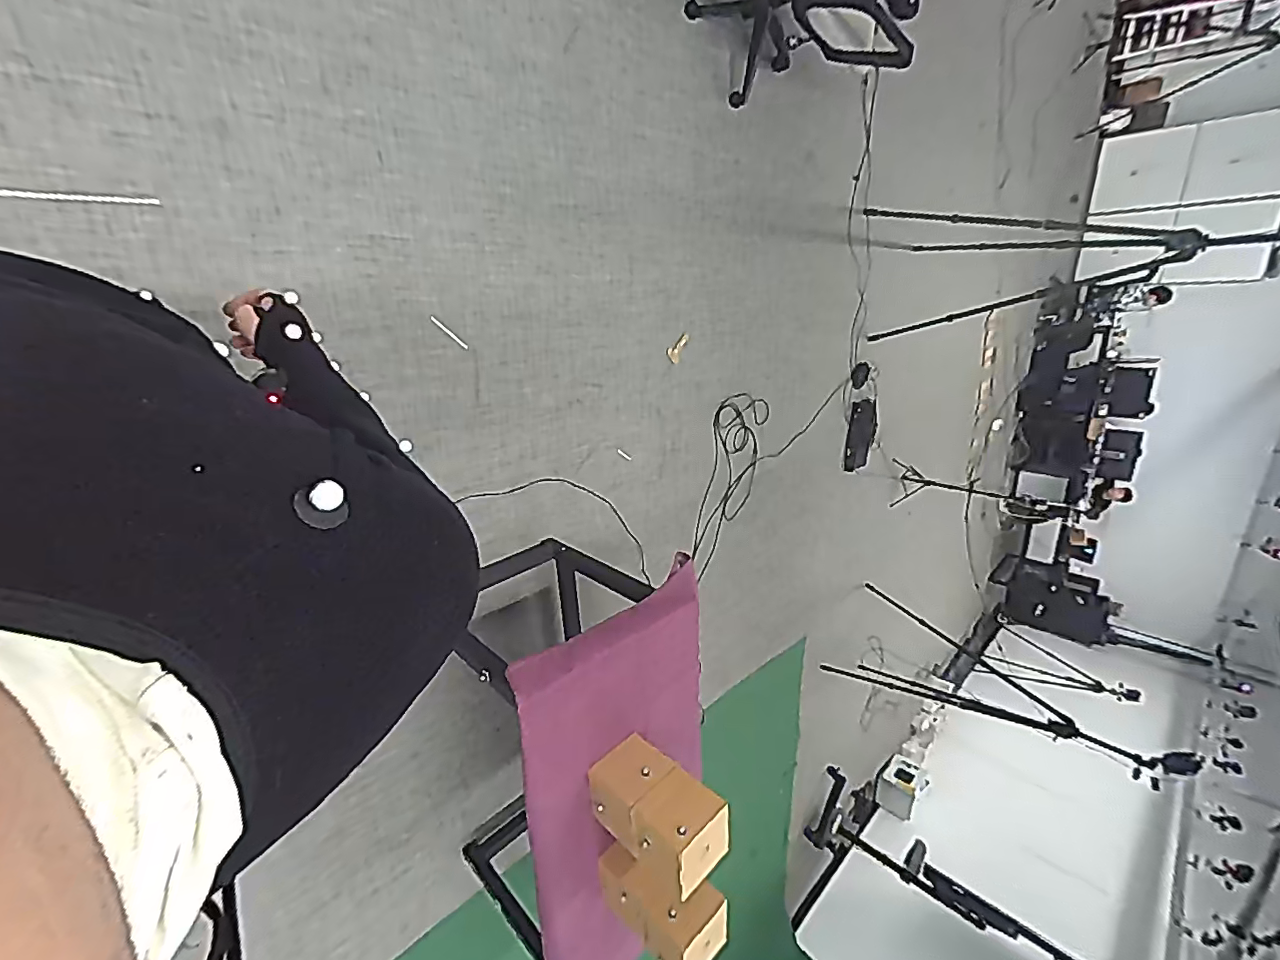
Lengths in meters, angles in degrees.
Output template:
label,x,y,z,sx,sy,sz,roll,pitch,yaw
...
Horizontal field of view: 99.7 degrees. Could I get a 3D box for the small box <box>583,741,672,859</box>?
label,x,y,z,sx,sy,sz,roll,pitch,yaw
small box,-0.032,0.842,1.446,0.179,0.176,0.168,-20,115,-40

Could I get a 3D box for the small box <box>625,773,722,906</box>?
label,x,y,z,sx,sy,sz,roll,pitch,yaw
small box,0.084,0.874,1.337,0.179,0.176,0.168,-21,116,-40

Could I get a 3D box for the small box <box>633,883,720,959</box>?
label,x,y,z,sx,sy,sz,roll,pitch,yaw
small box,0.094,1.188,1.438,0.179,0.176,0.168,-19,115,-42
